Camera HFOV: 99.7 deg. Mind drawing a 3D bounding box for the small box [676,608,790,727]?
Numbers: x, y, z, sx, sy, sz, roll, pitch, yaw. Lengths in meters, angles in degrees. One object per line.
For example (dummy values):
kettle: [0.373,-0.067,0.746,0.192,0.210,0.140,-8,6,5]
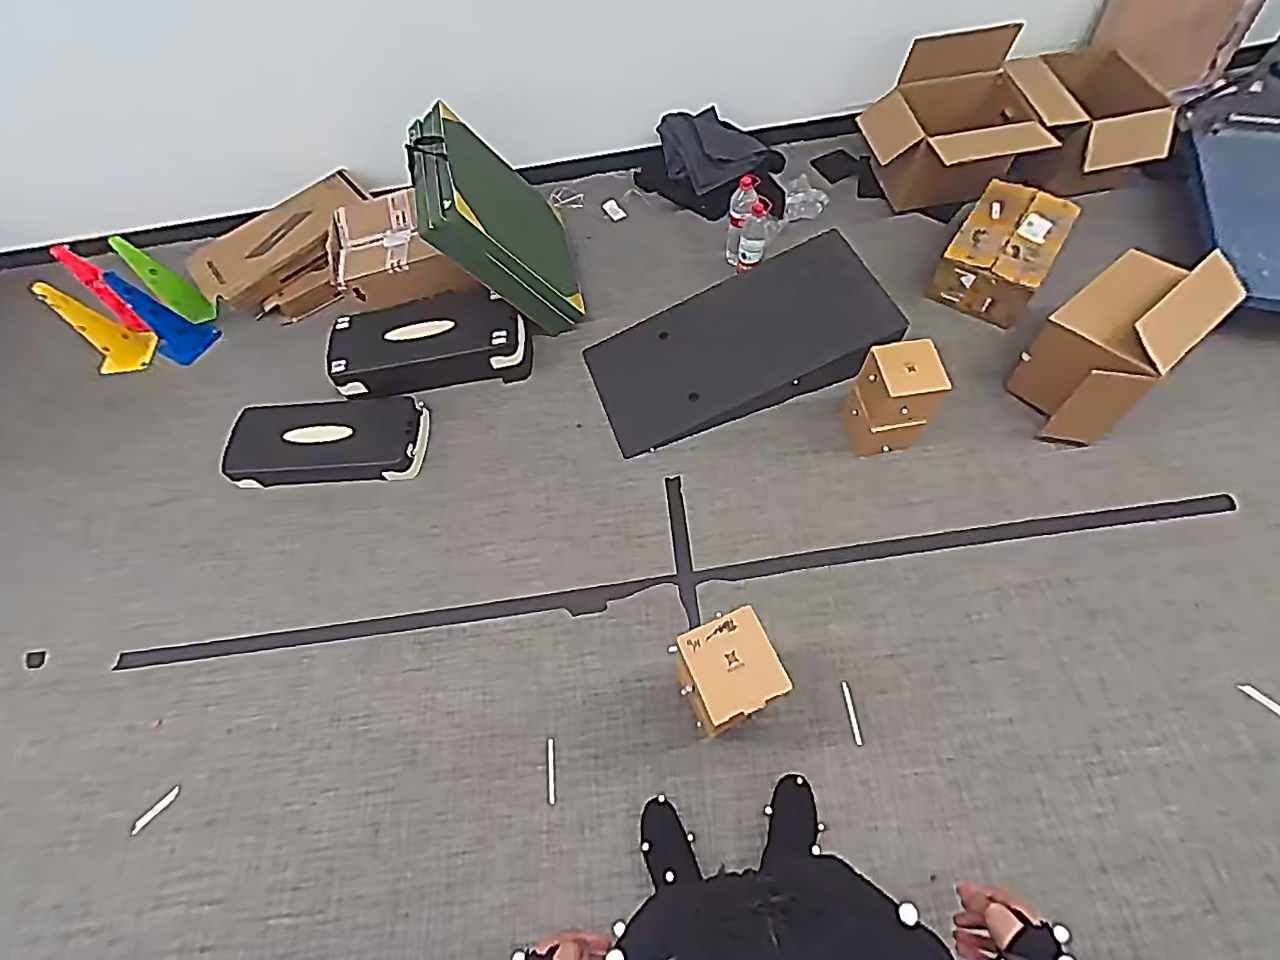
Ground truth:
small box: [0.183,0.386,1.107,0.168,0.176,0.179,-22,65,-6]
